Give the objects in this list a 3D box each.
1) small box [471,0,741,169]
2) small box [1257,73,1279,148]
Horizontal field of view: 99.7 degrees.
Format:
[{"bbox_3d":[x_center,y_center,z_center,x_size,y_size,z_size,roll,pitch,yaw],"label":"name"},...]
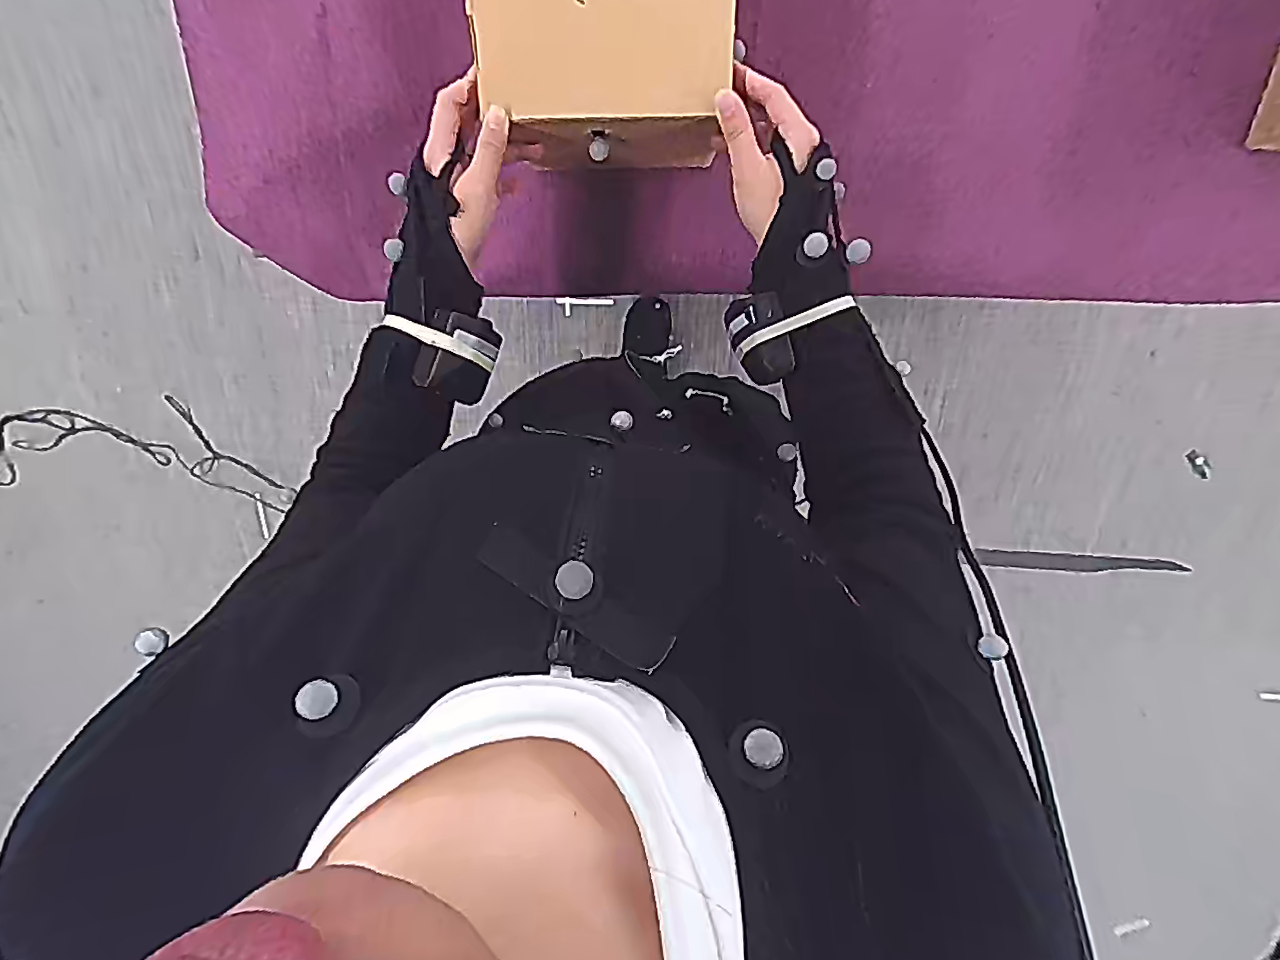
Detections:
[{"bbox_3d":[-0.019,-0.349,0.415,0.179,0.176,0.168,1,110,3],"label":"small box"},{"bbox_3d":[0.625,-0.340,0.379,0.179,0.176,0.168,5,109,1],"label":"small box"}]
